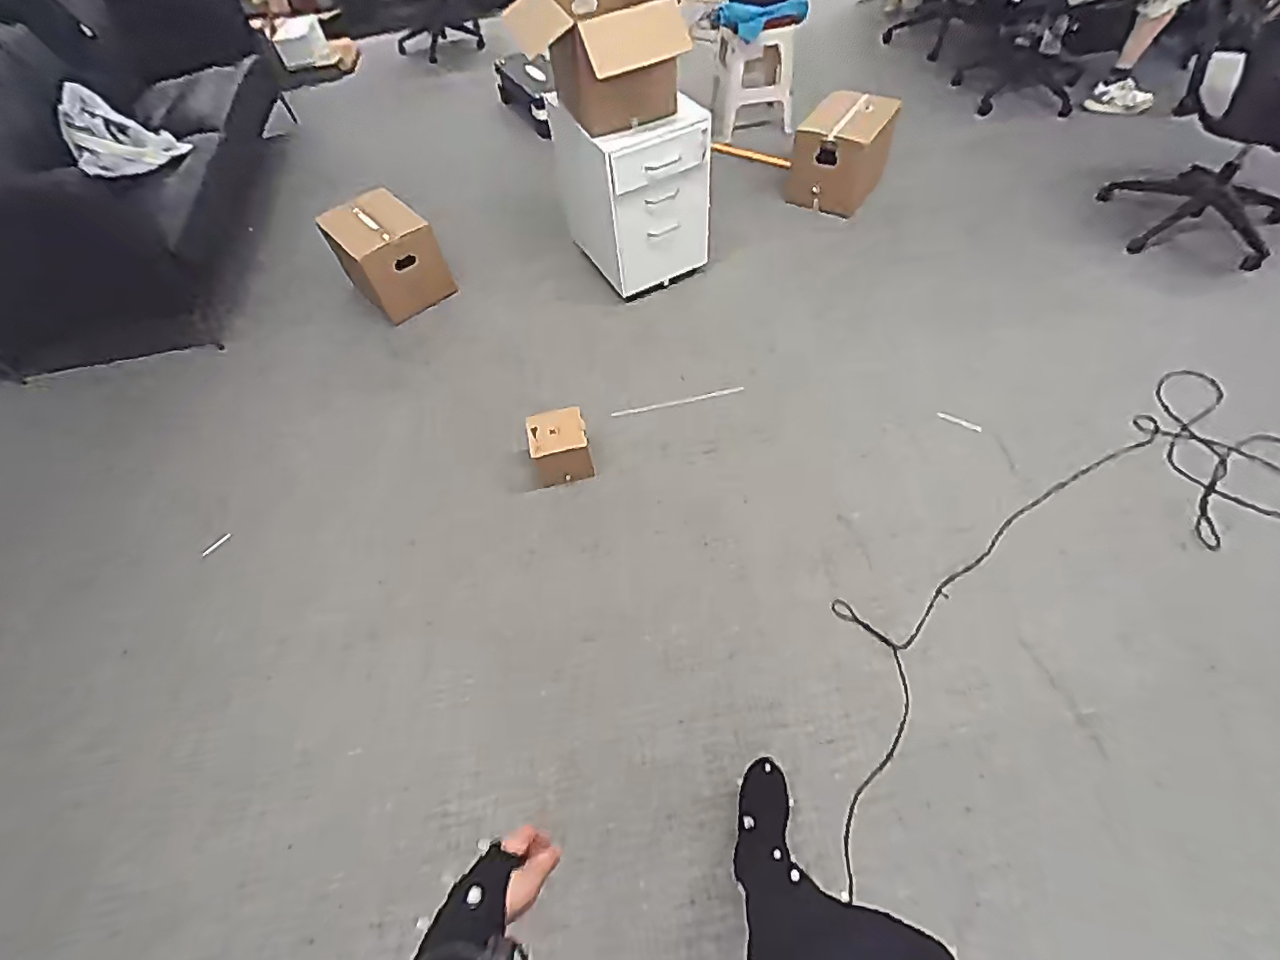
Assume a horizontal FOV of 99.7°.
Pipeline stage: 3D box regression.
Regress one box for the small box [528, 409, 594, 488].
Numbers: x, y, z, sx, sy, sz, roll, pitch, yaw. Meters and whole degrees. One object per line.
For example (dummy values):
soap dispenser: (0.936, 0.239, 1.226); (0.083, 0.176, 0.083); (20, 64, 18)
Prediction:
small box: (-0.248, -0.098, 1.728); (0.179, 0.176, 0.168); (-13, 56, -3)
